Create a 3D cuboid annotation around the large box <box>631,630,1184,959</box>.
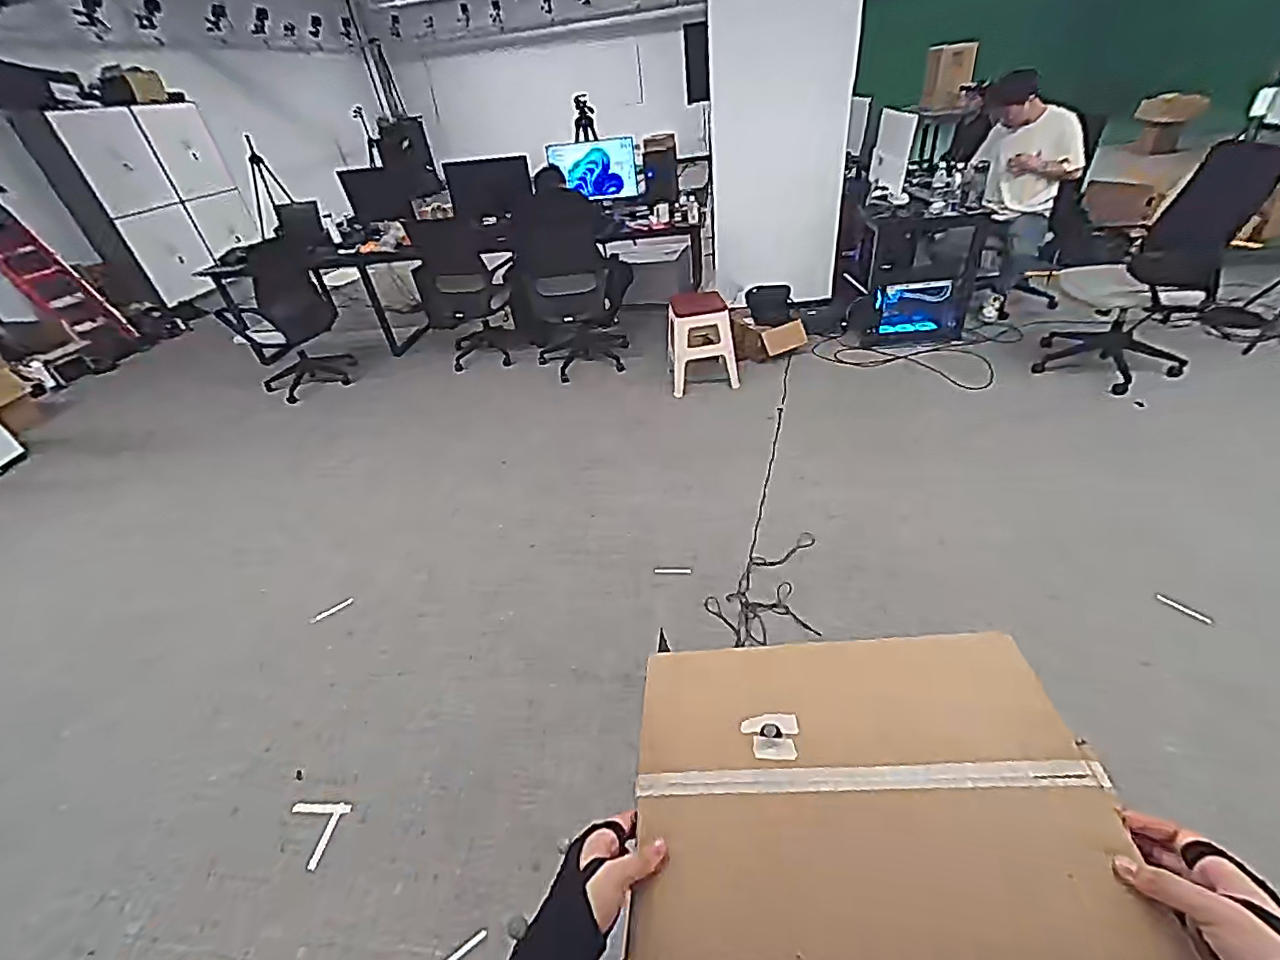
[{"bbox_3d":[0.229,0.405,0.599,0.408,0.320,0.320,-9,33,11],"label":"large box"}]
